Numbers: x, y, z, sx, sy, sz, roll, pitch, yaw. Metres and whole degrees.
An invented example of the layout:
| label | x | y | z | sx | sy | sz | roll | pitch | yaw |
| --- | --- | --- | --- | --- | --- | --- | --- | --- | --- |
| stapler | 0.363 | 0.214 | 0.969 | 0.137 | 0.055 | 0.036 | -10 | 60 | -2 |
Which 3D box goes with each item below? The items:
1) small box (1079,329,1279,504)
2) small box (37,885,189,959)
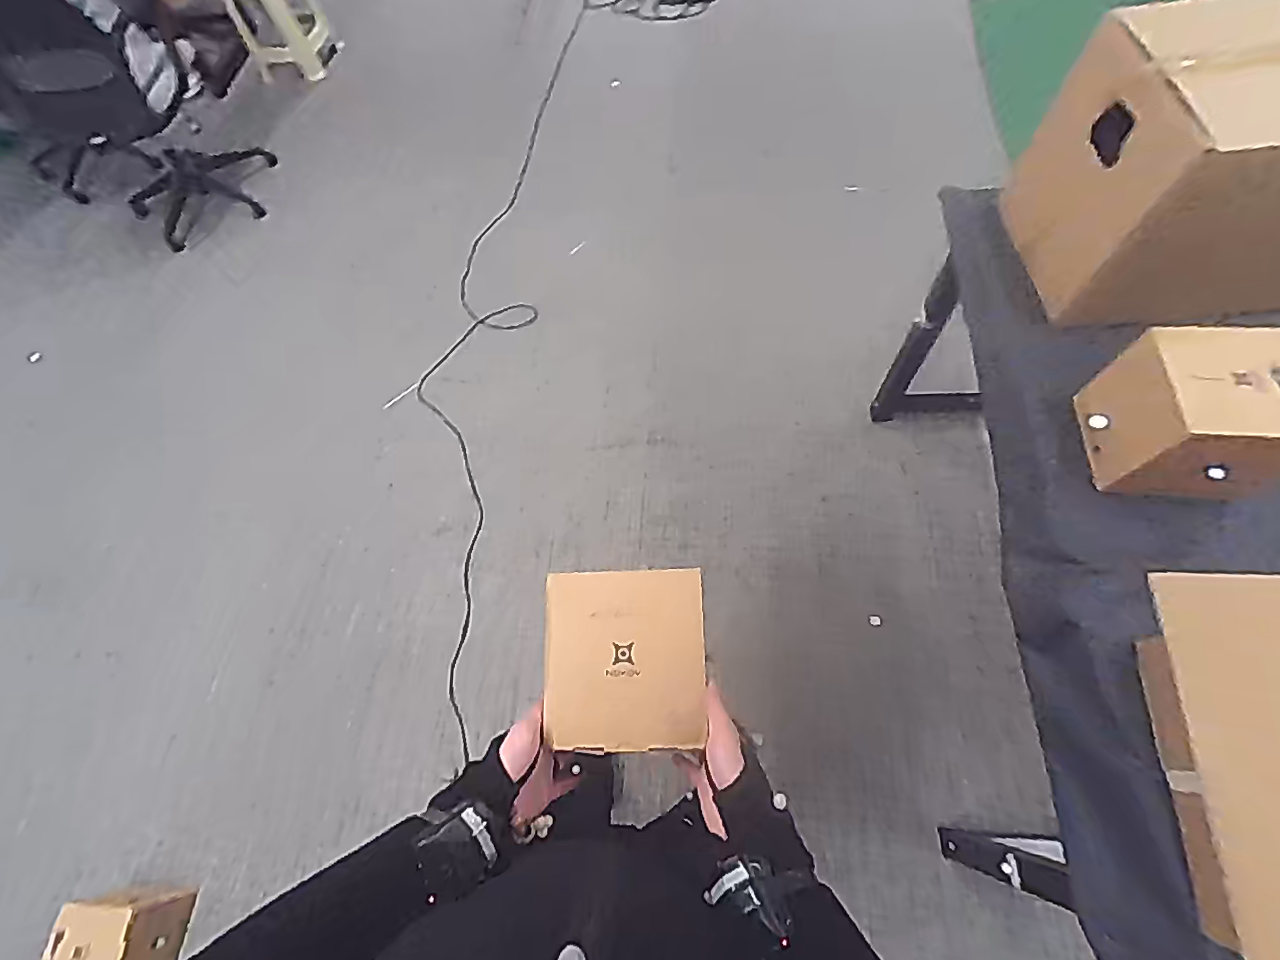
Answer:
| label | x | y | z | sx | sy | sz | roll | pitch | yaw |
| --- | --- | --- | --- | --- | --- | --- | --- | --- | --- |
| small box | 0.734 | -0.076 | 0.706 | 0.179 | 0.176 | 0.168 | 3 | 66 | 7 |
| small box | -1.161 | 1.020 | 1.194 | 0.179 | 0.176 | 0.168 | 0 | 66 | 4 |
